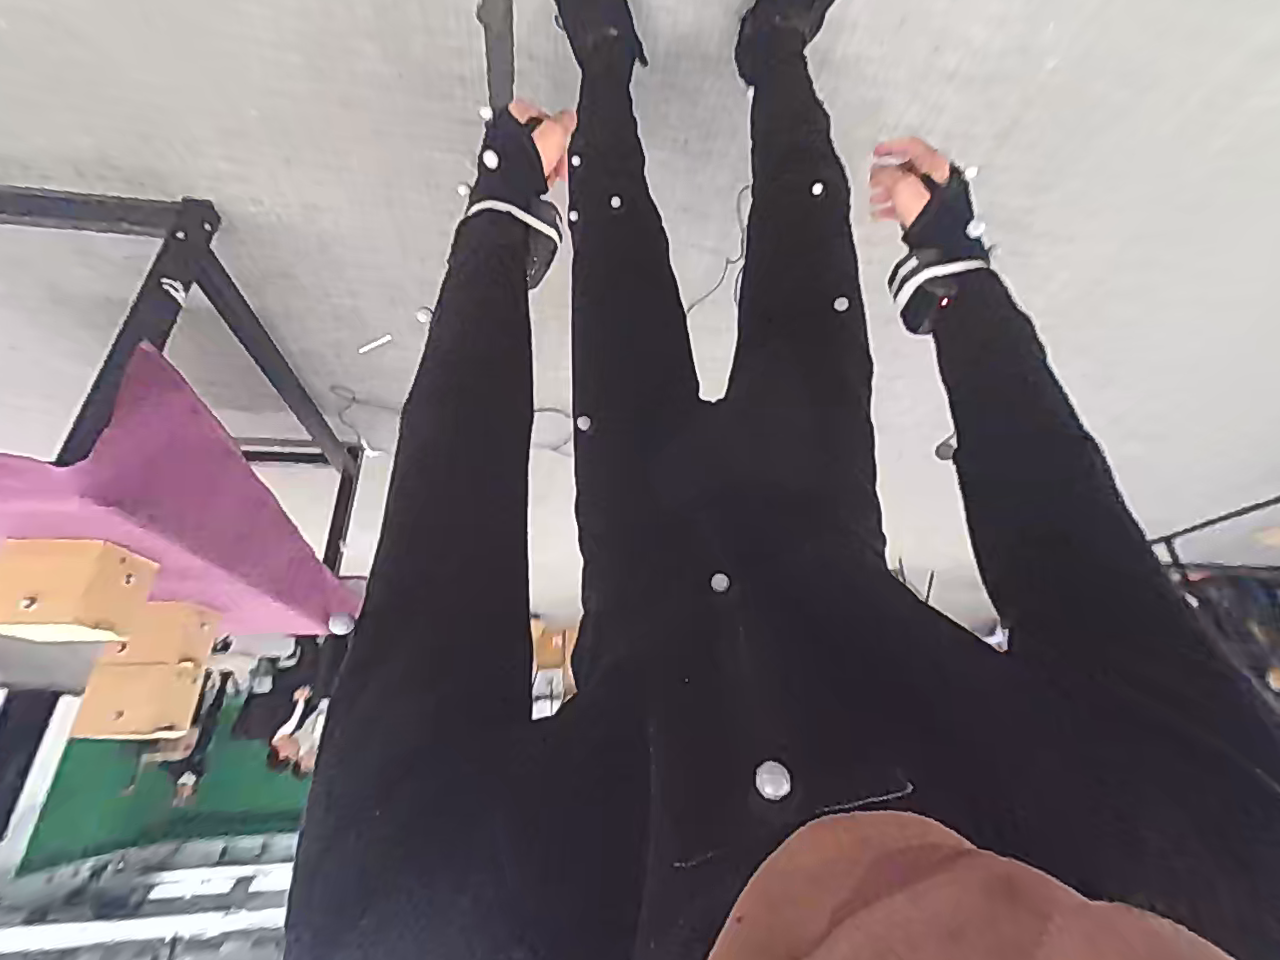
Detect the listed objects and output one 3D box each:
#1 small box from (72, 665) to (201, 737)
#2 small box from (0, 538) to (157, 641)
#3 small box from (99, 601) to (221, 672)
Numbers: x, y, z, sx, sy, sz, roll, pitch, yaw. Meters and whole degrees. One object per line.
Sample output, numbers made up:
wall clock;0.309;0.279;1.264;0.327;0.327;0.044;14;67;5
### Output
small box;-1.315;0.585;1.433;0.179;0.176;0.168;1;153;-5
small box;-1.136;0.220;1.082;0.179;0.176;0.168;1;154;-8
small box;-1.321;0.436;1.504;0.179;0.176;0.168;1;154;-9
